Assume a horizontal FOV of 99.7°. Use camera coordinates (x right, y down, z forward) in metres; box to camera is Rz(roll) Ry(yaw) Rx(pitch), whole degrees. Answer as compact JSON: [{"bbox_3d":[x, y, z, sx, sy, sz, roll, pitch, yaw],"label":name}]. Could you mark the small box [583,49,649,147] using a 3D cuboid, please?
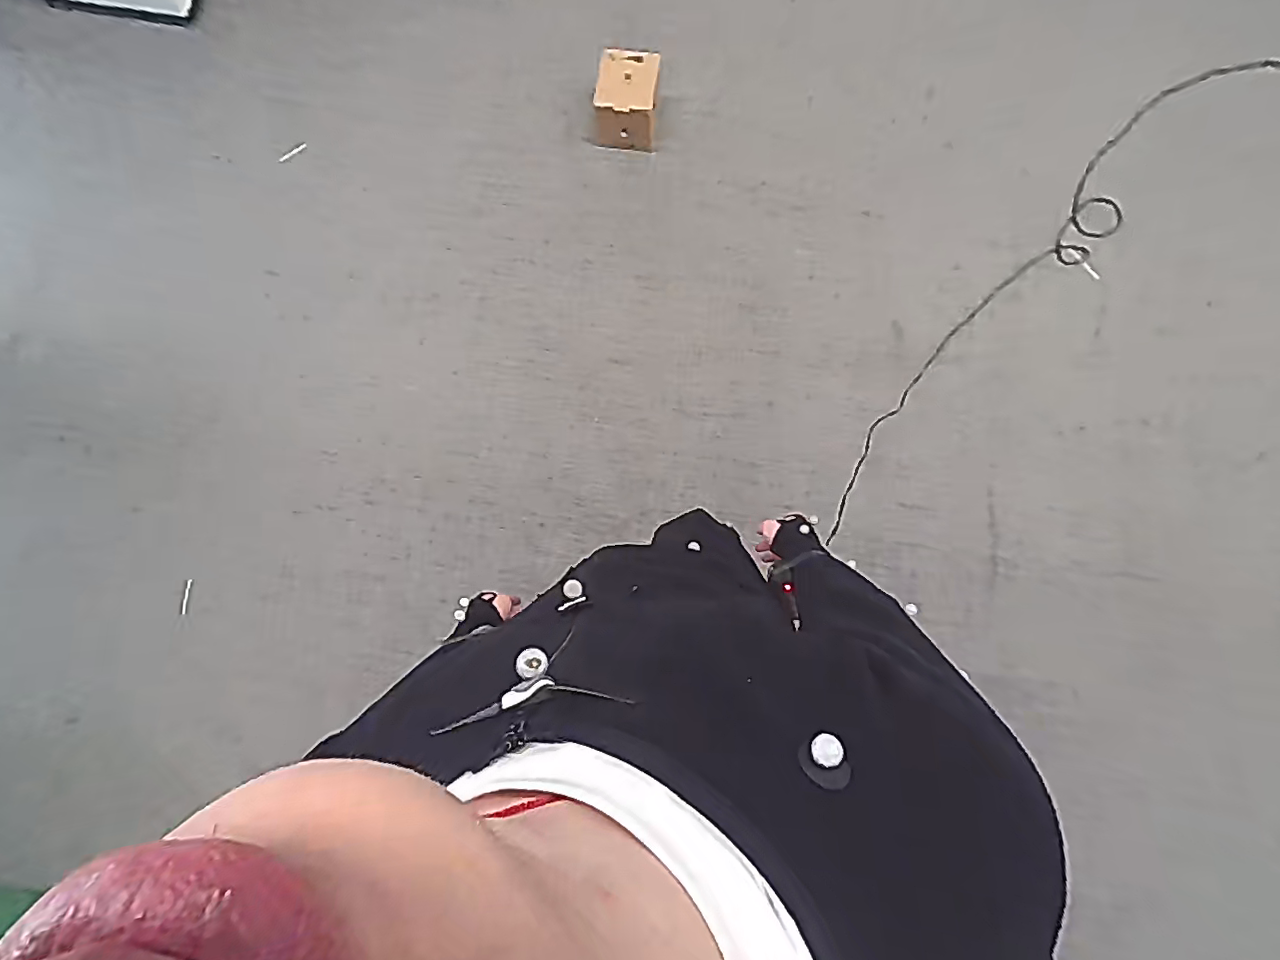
[{"bbox_3d":[-0.066,-1.120,1.595,0.168,0.176,0.179,6,85,4],"label":"small box"}]
